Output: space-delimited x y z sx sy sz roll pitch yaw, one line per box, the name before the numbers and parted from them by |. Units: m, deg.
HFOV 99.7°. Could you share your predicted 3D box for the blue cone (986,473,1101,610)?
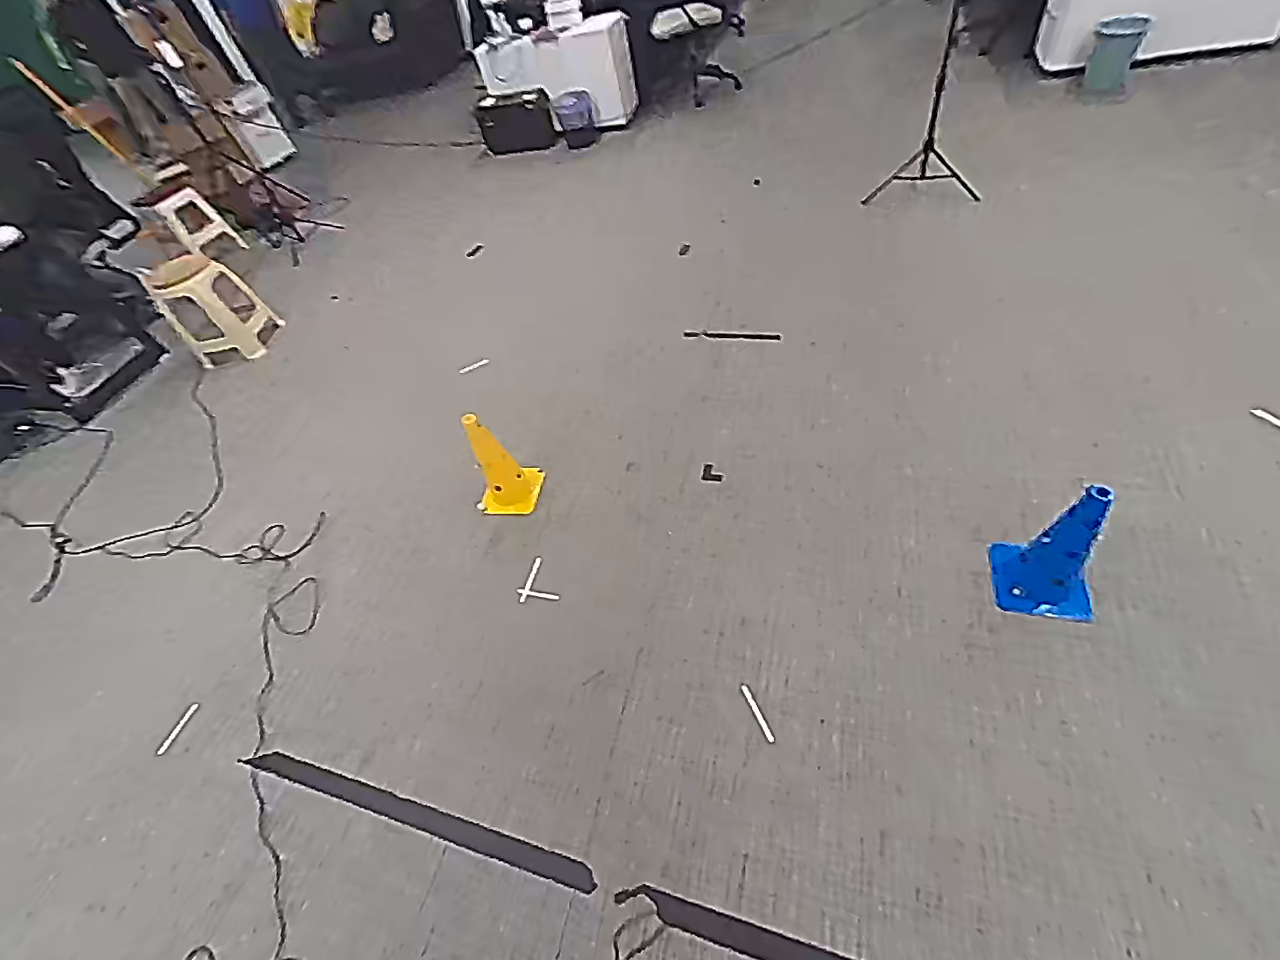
blue cone | 0.949 0.126 1.227 0.193 0.380 0.192 6 51 19
